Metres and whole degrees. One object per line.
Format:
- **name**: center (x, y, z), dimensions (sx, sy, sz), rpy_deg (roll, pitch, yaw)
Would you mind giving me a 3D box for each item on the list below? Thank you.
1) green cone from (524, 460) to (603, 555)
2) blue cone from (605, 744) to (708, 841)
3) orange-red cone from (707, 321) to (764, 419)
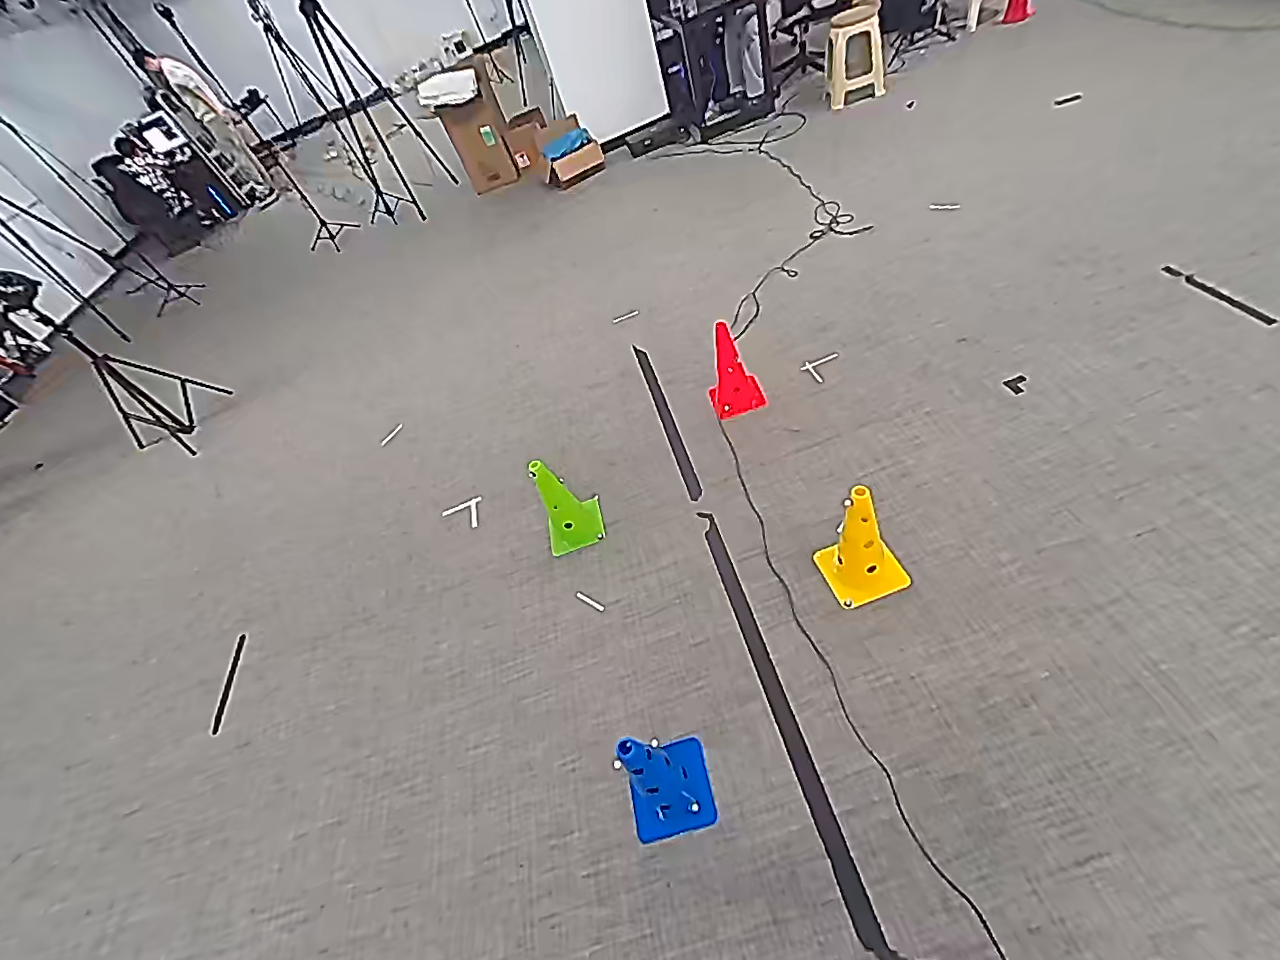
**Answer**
- **green cone**: center (-0.290, 0.058, 1.837), dimensions (0.202, 0.368, 0.200), rpy_deg (-22, 46, 5)
- **blue cone**: center (0.014, 0.656, 1.209), dimensions (0.192, 0.380, 0.193), rpy_deg (-19, 46, 7)
- **orange-red cone**: center (0.330, -0.436, 2.024), dimensions (0.199, 0.360, 0.198), rpy_deg (-17, 48, 6)
